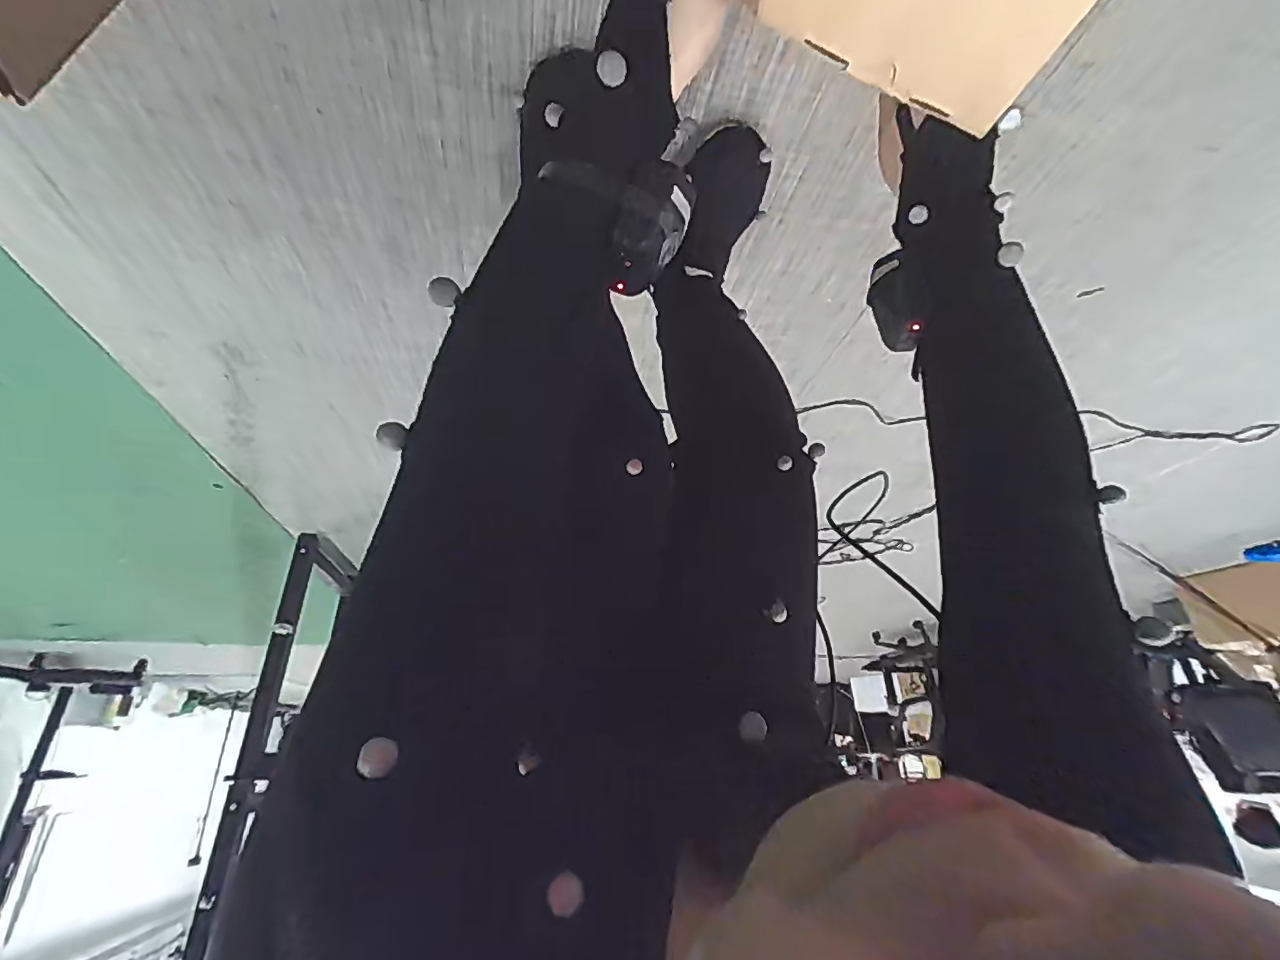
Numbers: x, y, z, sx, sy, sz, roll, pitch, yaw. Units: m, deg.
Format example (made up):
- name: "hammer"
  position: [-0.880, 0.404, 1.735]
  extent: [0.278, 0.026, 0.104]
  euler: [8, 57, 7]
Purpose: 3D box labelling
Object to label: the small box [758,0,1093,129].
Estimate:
- name: "small box"
  position: [0.155, -0.333, 0.274]
  extent: [0.168, 0.176, 0.179]
  euler: [10, 144, -19]
